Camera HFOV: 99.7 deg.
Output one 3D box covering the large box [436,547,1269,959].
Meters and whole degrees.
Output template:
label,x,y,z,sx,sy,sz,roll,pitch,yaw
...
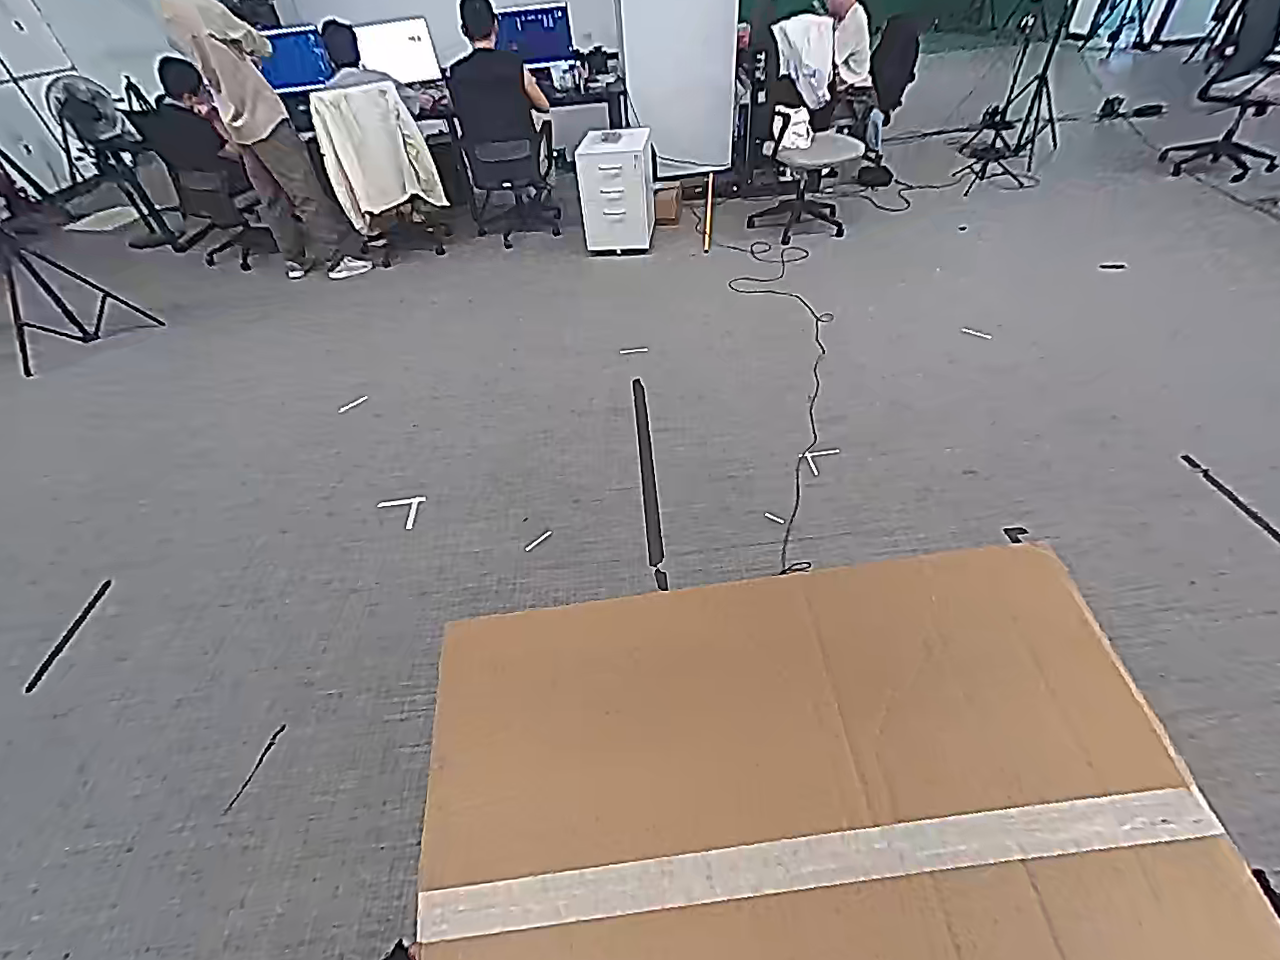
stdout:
label,x,y,z,sx,sy,sz,roll,pitch,yaw
large box,0.100,0.284,0.411,0.408,0.320,0.320,-8,56,1
